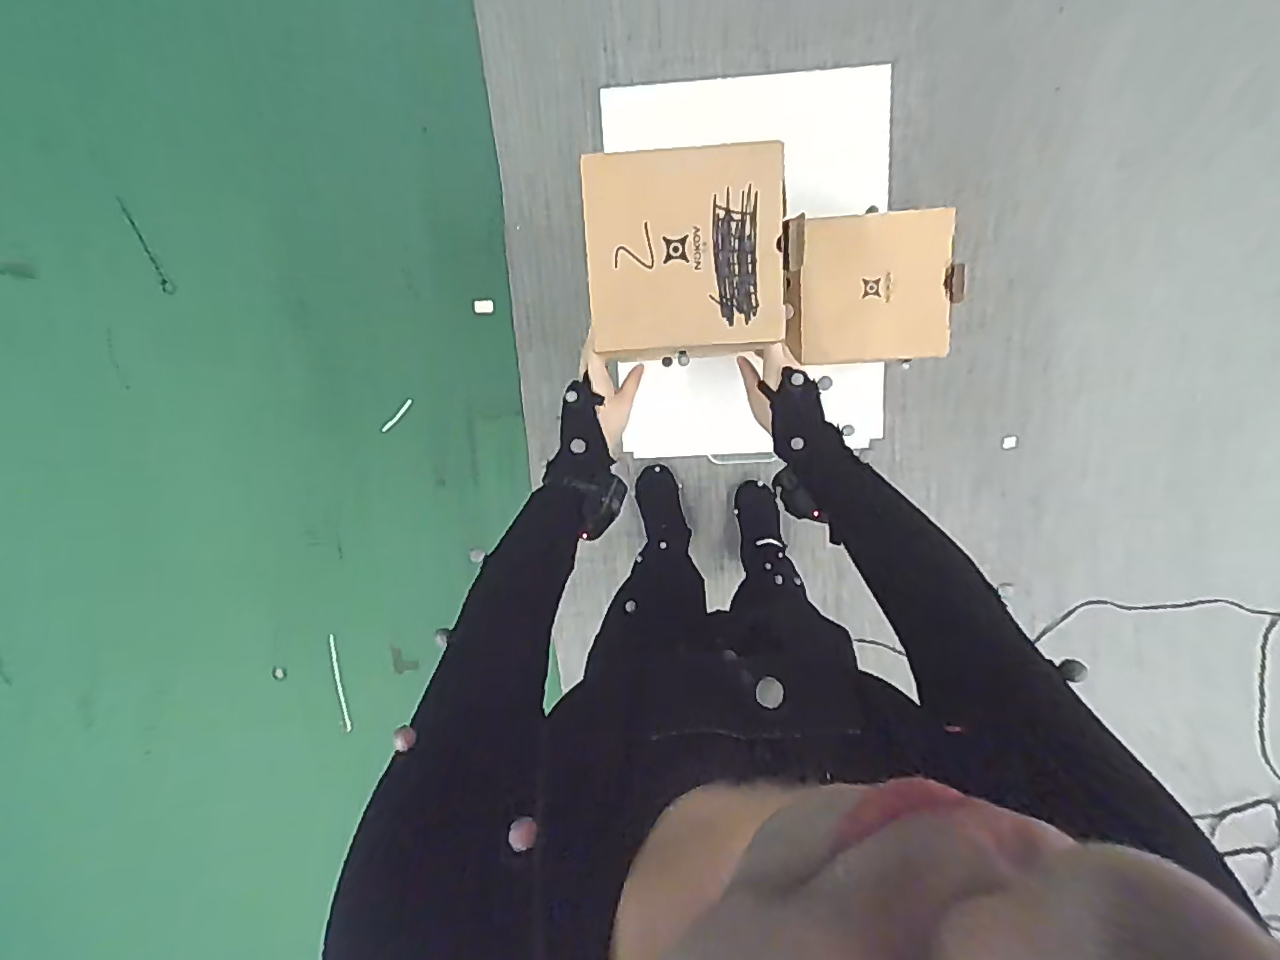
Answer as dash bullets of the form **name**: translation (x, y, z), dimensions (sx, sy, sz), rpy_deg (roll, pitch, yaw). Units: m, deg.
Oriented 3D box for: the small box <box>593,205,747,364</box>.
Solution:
- **small box**: translation (0.040, -0.243, 0.711), dimensions (0.179, 0.176, 0.168), rpy_deg (-4, 101, 2)
